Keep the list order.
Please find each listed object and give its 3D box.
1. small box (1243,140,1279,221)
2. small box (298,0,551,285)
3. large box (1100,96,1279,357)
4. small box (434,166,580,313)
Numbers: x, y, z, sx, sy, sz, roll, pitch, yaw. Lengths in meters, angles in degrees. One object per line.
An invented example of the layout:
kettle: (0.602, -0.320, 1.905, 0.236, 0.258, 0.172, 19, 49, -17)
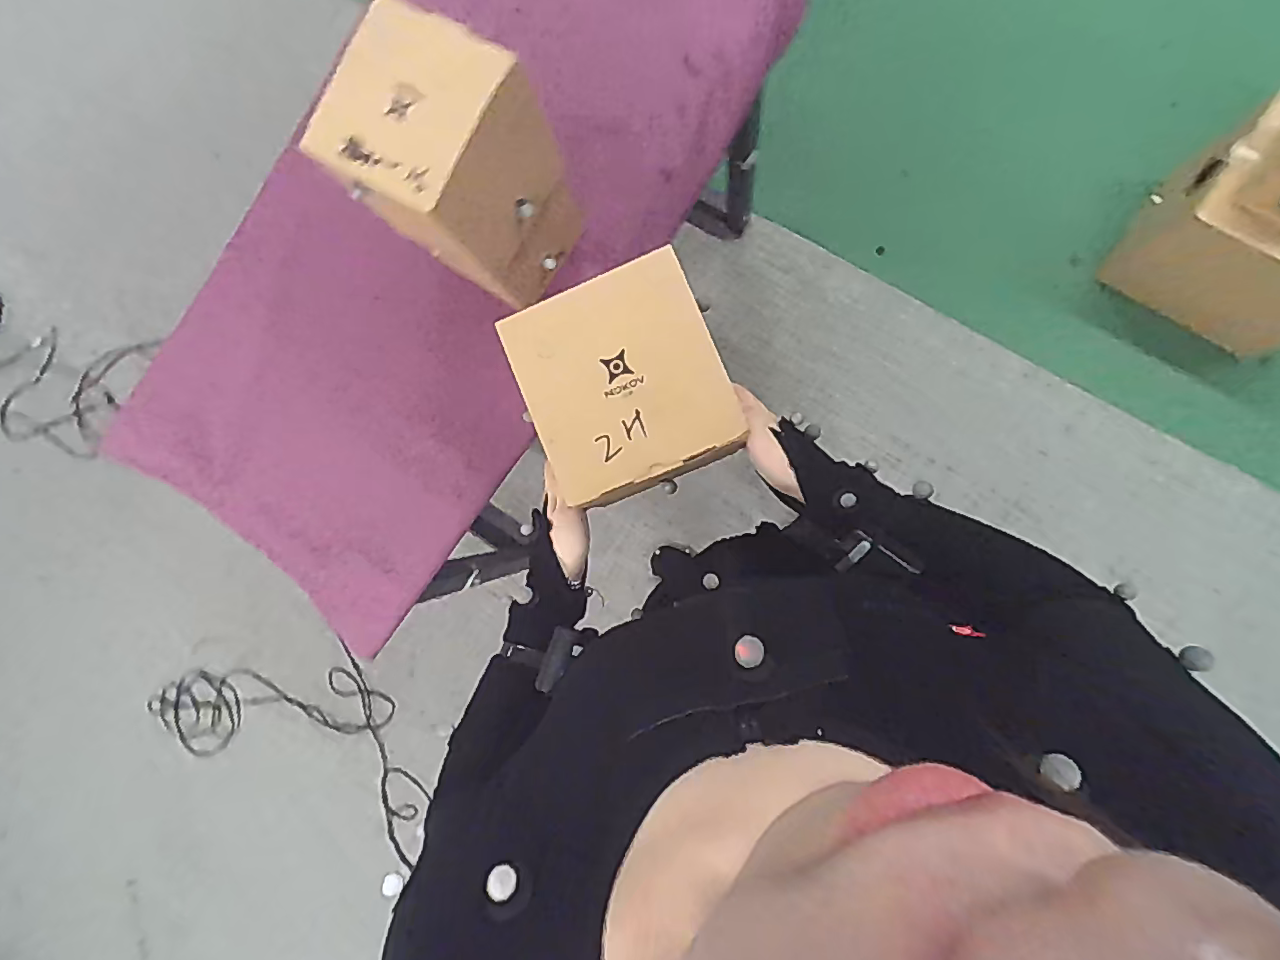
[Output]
small box: (1.284, -0.588, 0.978, 0.168, 0.176, 0.179, 36, 93, 8)
small box: (-0.219, -0.356, 0.603, 0.168, 0.176, 0.179, 30, 91, 9)
large box: (1.393, -0.539, 1.205, 0.408, 0.320, 0.320, 34, 92, 8)
small box: (-0.213, -0.366, 0.768, 0.179, 0.176, 0.168, 34, 92, 9)
